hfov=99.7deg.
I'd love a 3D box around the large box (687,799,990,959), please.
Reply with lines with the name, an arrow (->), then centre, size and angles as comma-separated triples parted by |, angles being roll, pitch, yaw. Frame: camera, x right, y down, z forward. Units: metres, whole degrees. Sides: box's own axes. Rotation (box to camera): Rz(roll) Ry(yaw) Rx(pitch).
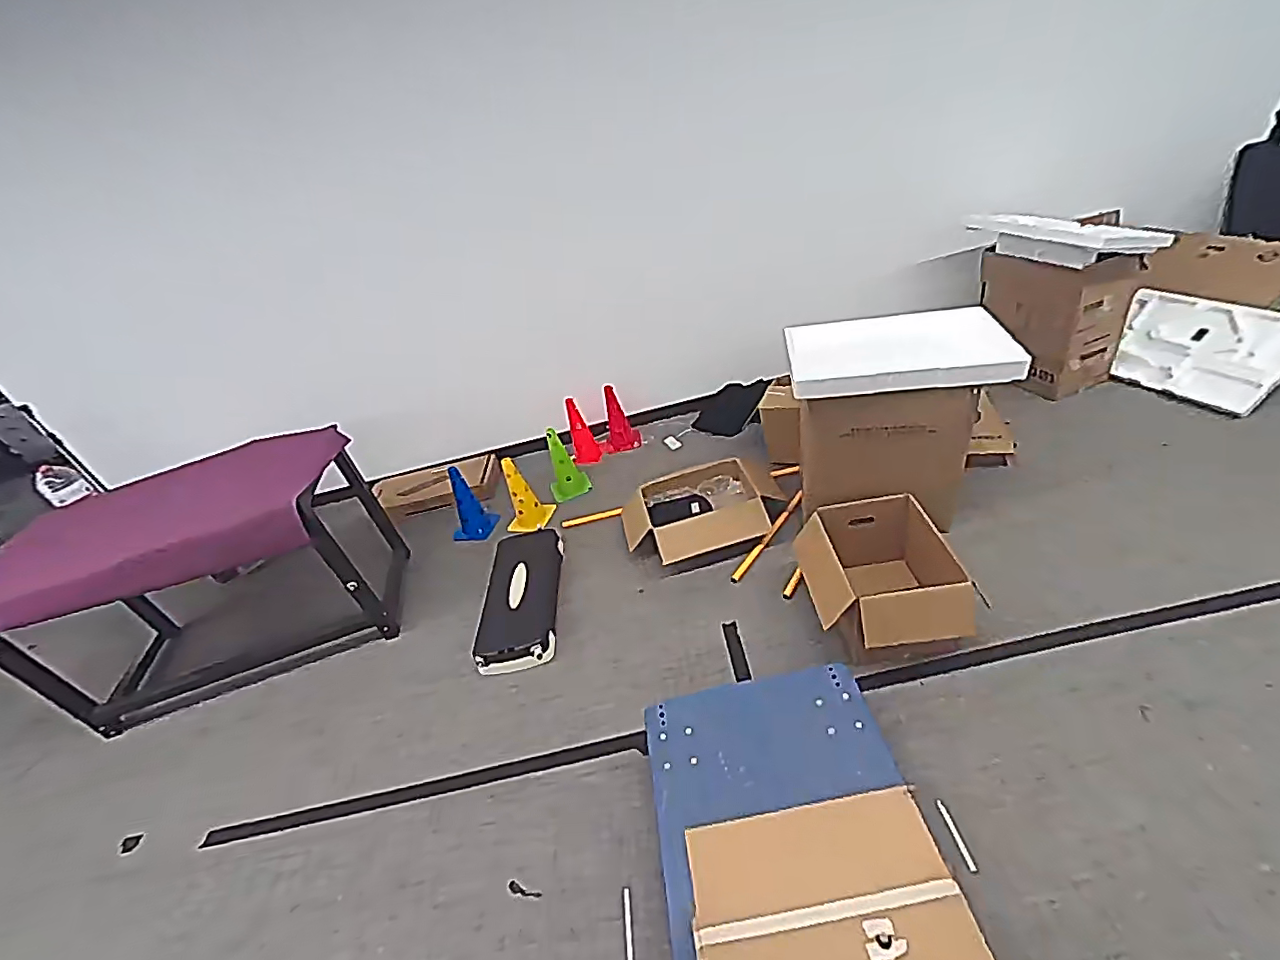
large box -> 0.316, 0.797, 0.892 | 0.408, 0.320, 0.320 | -12, 34, 2
